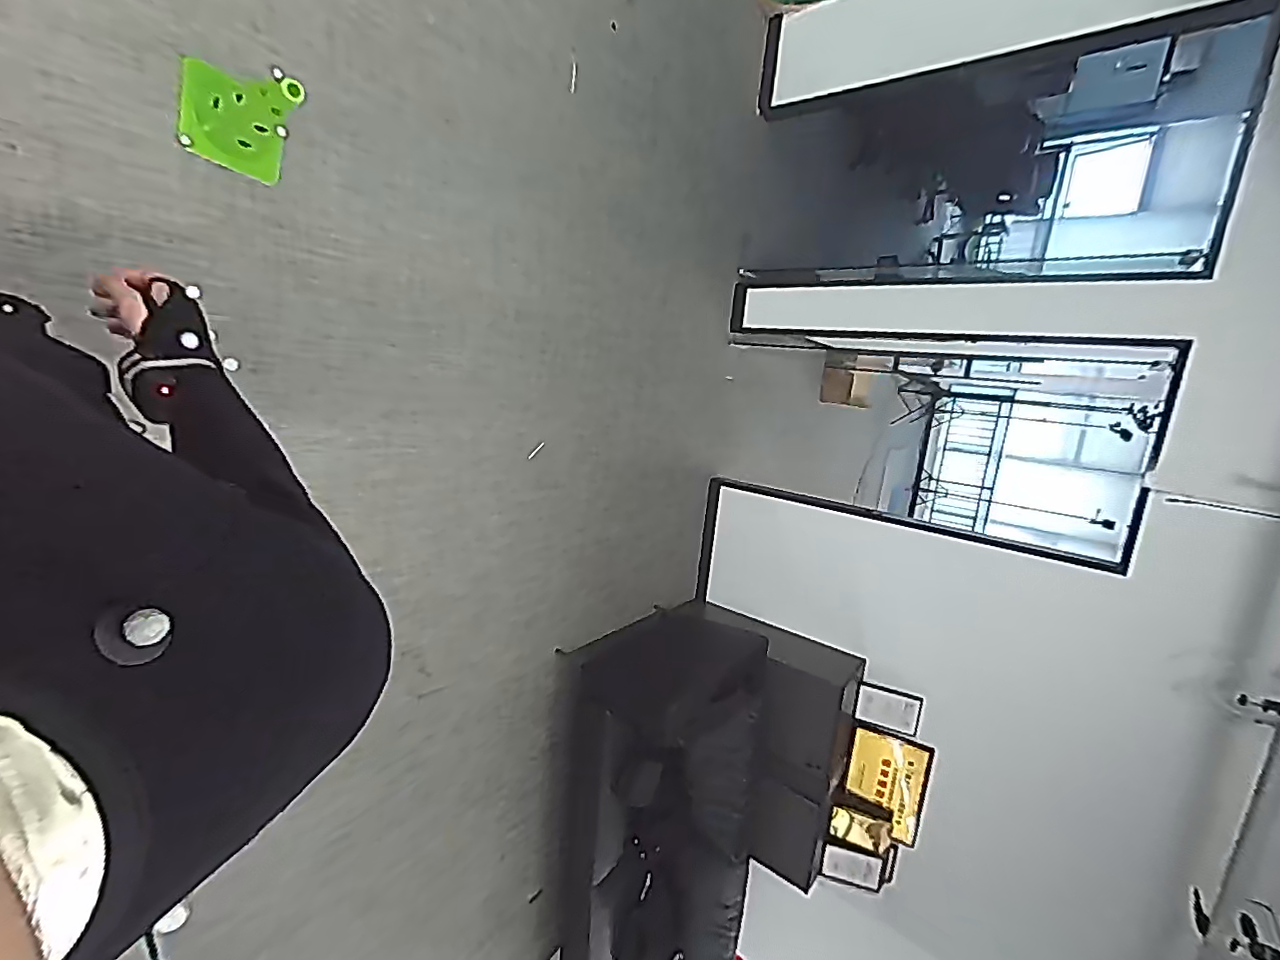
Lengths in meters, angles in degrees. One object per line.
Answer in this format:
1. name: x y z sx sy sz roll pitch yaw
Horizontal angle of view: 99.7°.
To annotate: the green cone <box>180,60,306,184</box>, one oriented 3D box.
1. green cone: -0.826 -0.812 1.184 0.200 0.368 0.202 2 98 -54
